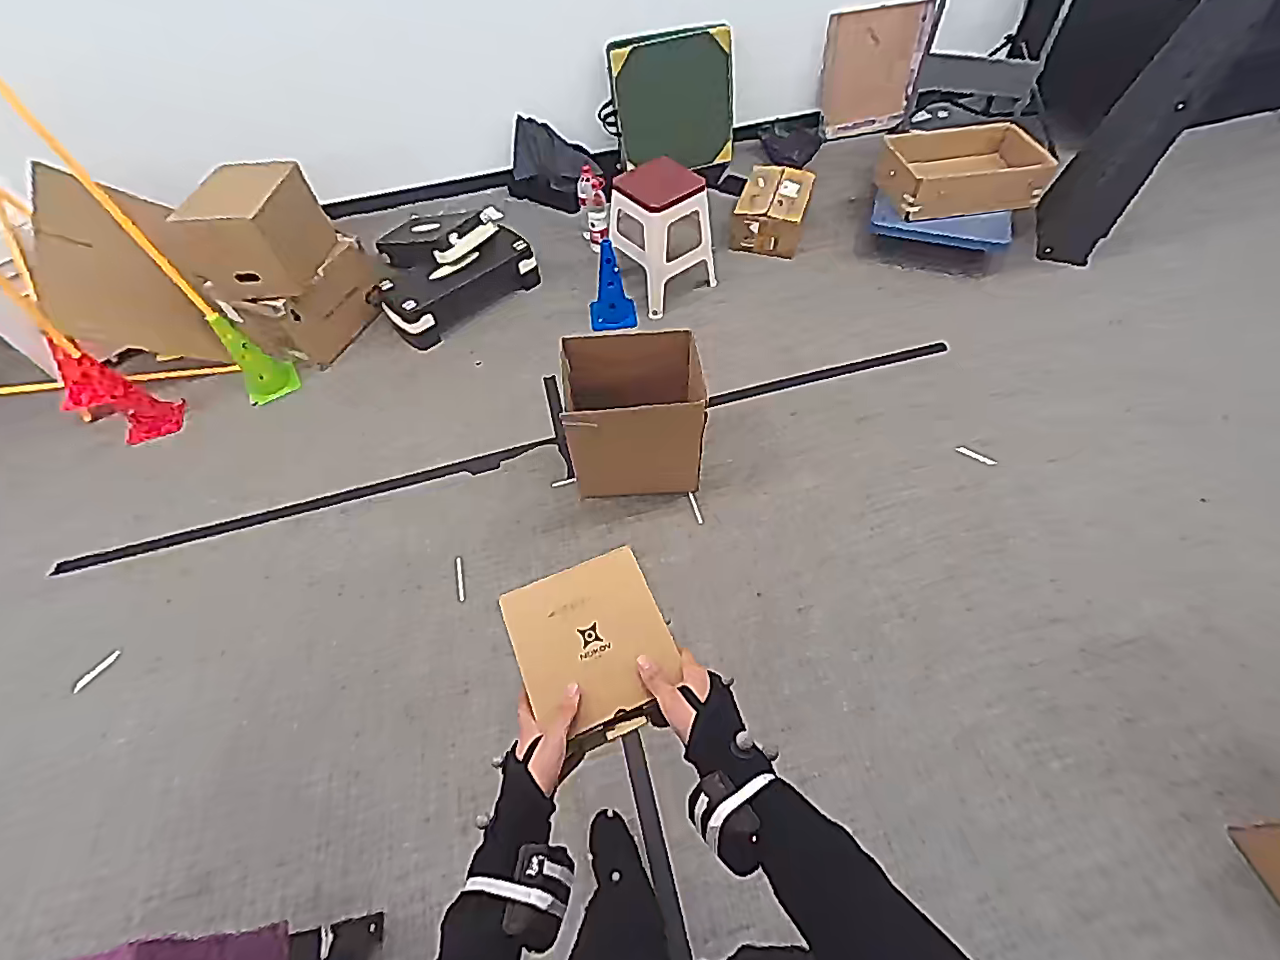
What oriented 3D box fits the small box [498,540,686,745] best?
[{"bbox_3d":[-0.056,0.205,0.660,0.168,0.176,0.179,-20,62,-12],"label":"small box"}]
